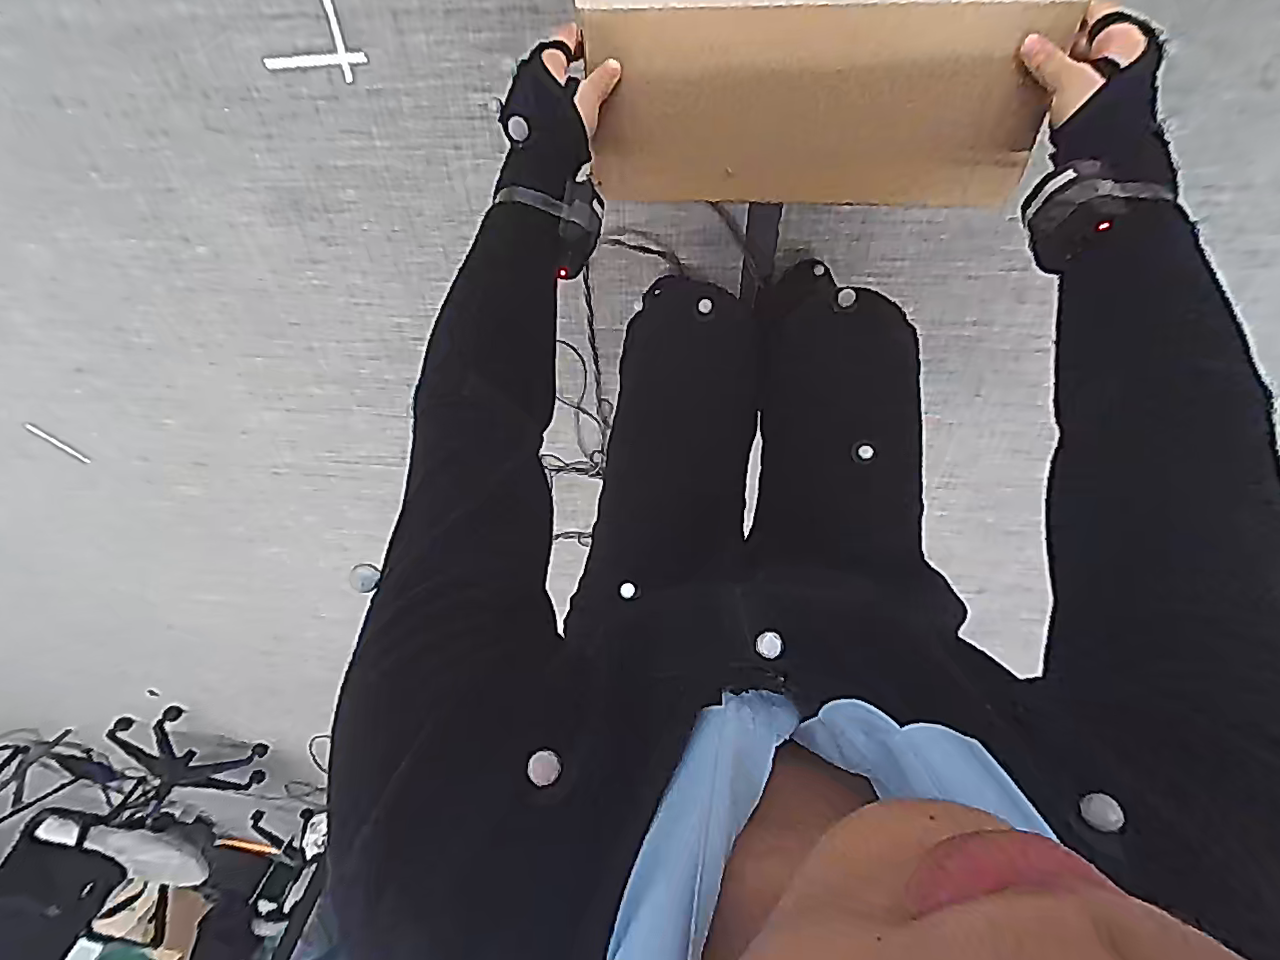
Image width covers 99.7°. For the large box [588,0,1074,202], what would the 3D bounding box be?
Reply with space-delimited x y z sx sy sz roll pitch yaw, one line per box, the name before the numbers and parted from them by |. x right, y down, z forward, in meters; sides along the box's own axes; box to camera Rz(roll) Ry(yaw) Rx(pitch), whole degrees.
large box | 0.172 -0.492 0.563 0.408 0.320 0.320 4 127 7
